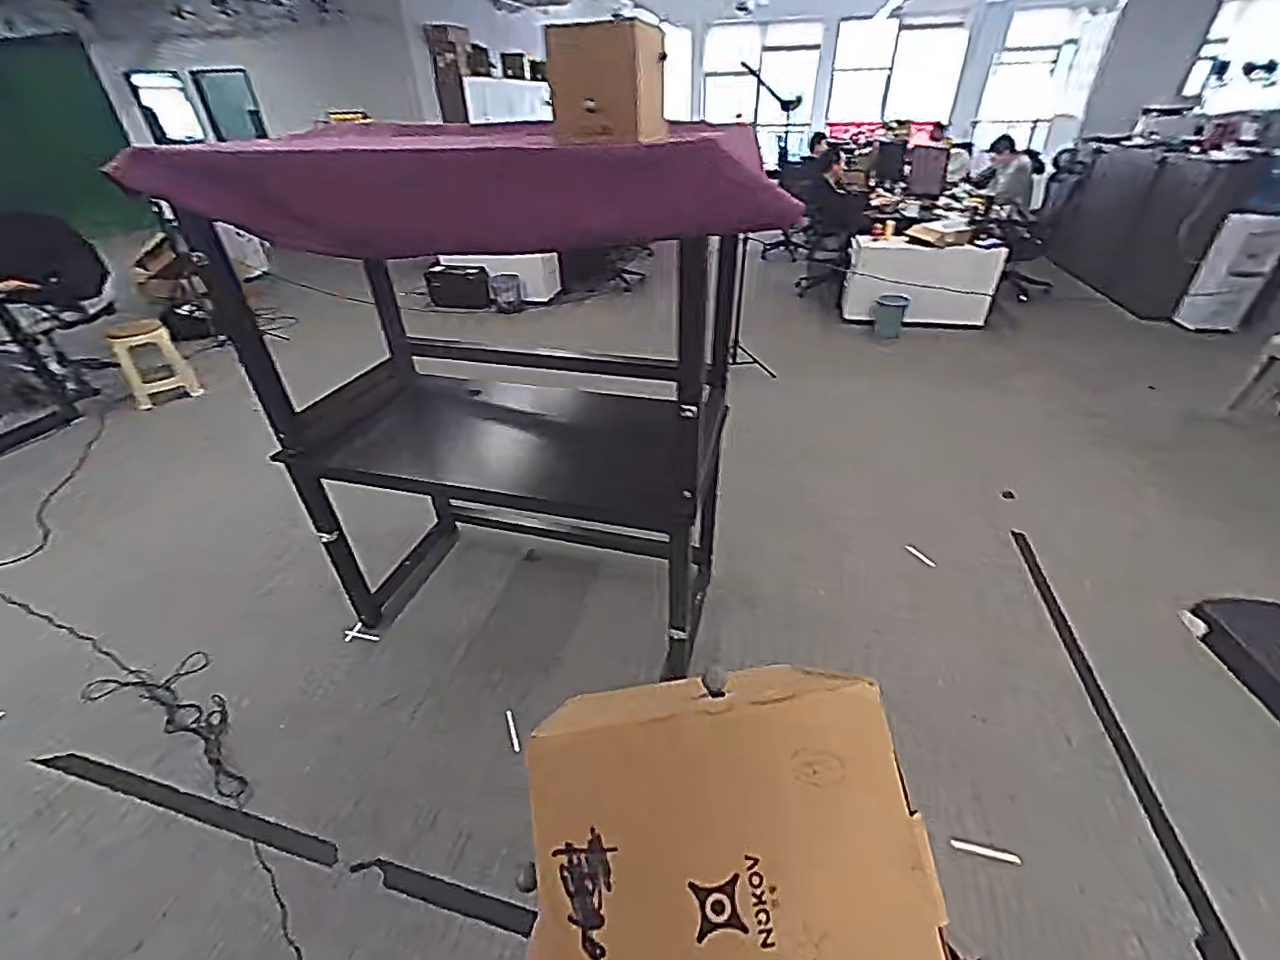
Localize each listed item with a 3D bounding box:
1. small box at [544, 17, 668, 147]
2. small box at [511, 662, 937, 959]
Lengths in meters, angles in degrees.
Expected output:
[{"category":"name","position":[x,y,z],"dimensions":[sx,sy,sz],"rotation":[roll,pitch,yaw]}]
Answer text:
[{"category":"small box","position":[-0.053,-0.695,0.958],"dimensions":[0.168,0.176,0.179],"rotation":[9,35,16]},{"category":"small box","position":[0.034,0.204,0.313],"dimensions":[0.179,0.176,0.168],"rotation":[-8,73,-3]}]
